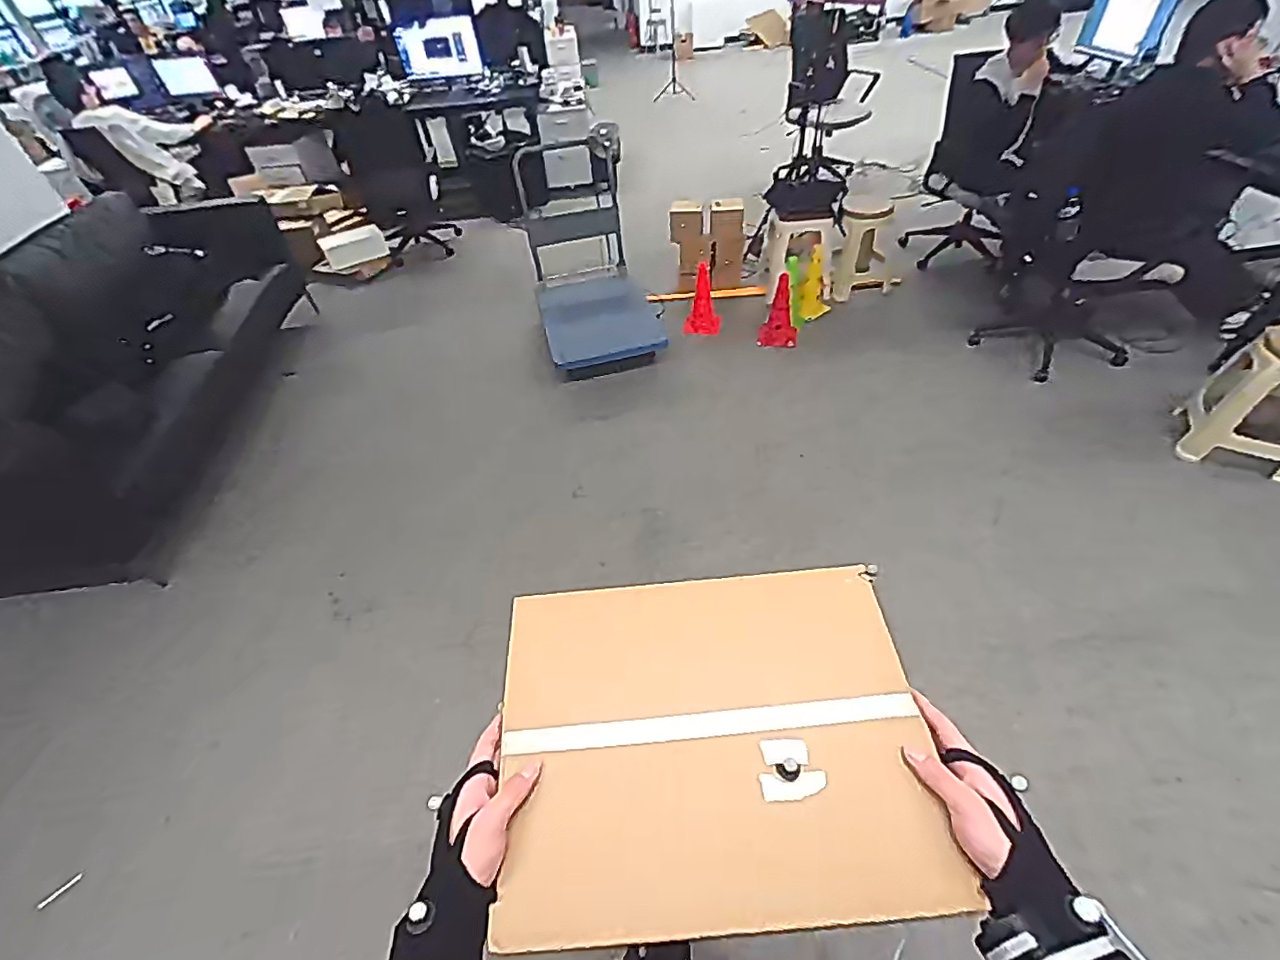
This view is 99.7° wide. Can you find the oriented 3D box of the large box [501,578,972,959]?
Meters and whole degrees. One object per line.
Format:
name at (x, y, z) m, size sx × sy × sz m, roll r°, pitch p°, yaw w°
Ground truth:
large box at (0.076, 0.347, 0.652) m, size 0.408 × 0.320 × 0.320 m, roll -6°, pitch 52°, yaw 0°
